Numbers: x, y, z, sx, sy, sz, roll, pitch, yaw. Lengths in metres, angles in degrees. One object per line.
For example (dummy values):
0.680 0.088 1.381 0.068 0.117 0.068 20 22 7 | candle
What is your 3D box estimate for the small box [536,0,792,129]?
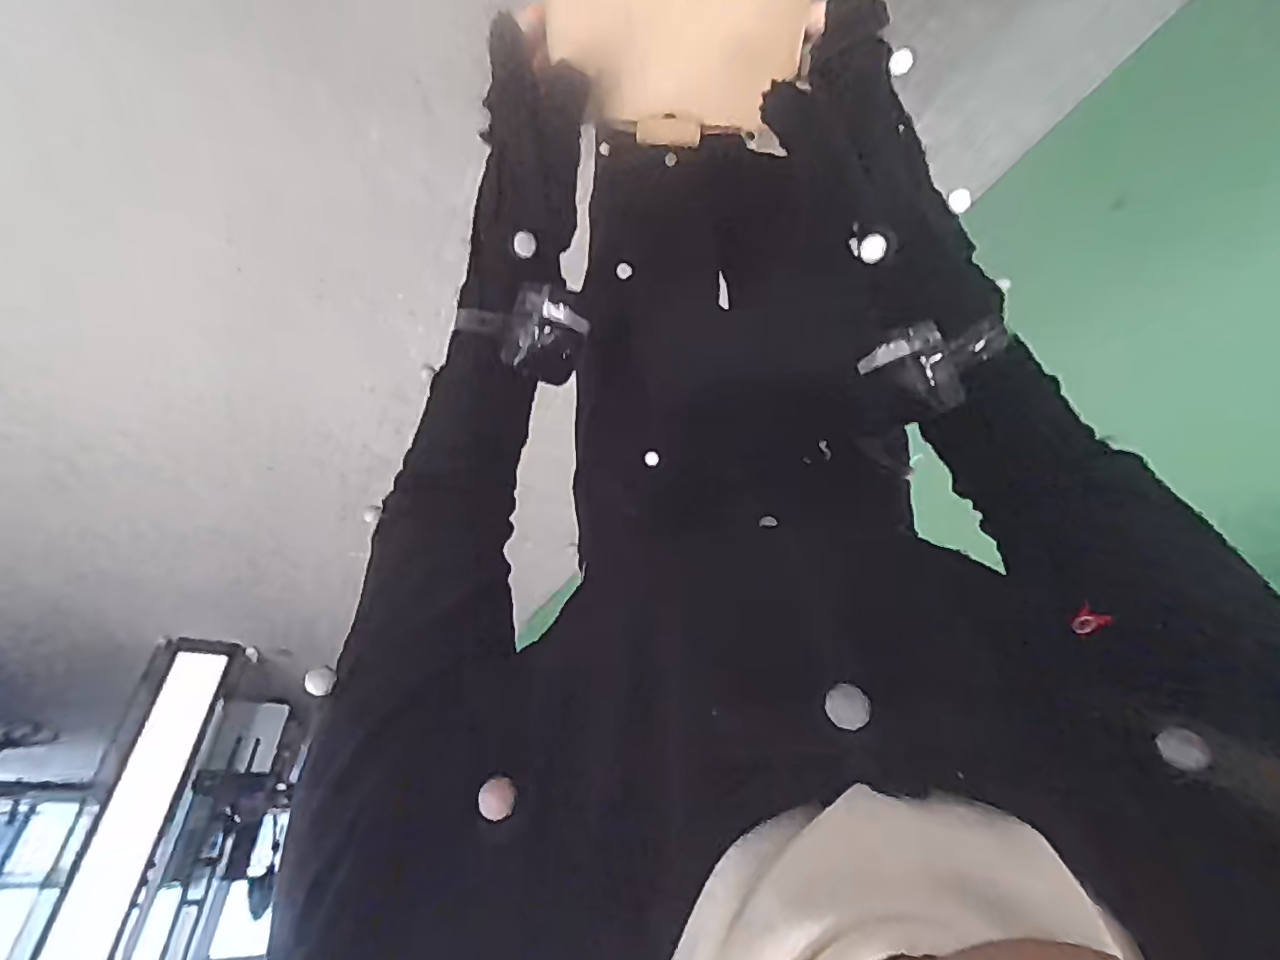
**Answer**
0.017 -0.369 0.388 0.168 0.176 0.179 0 130 1 | small box
